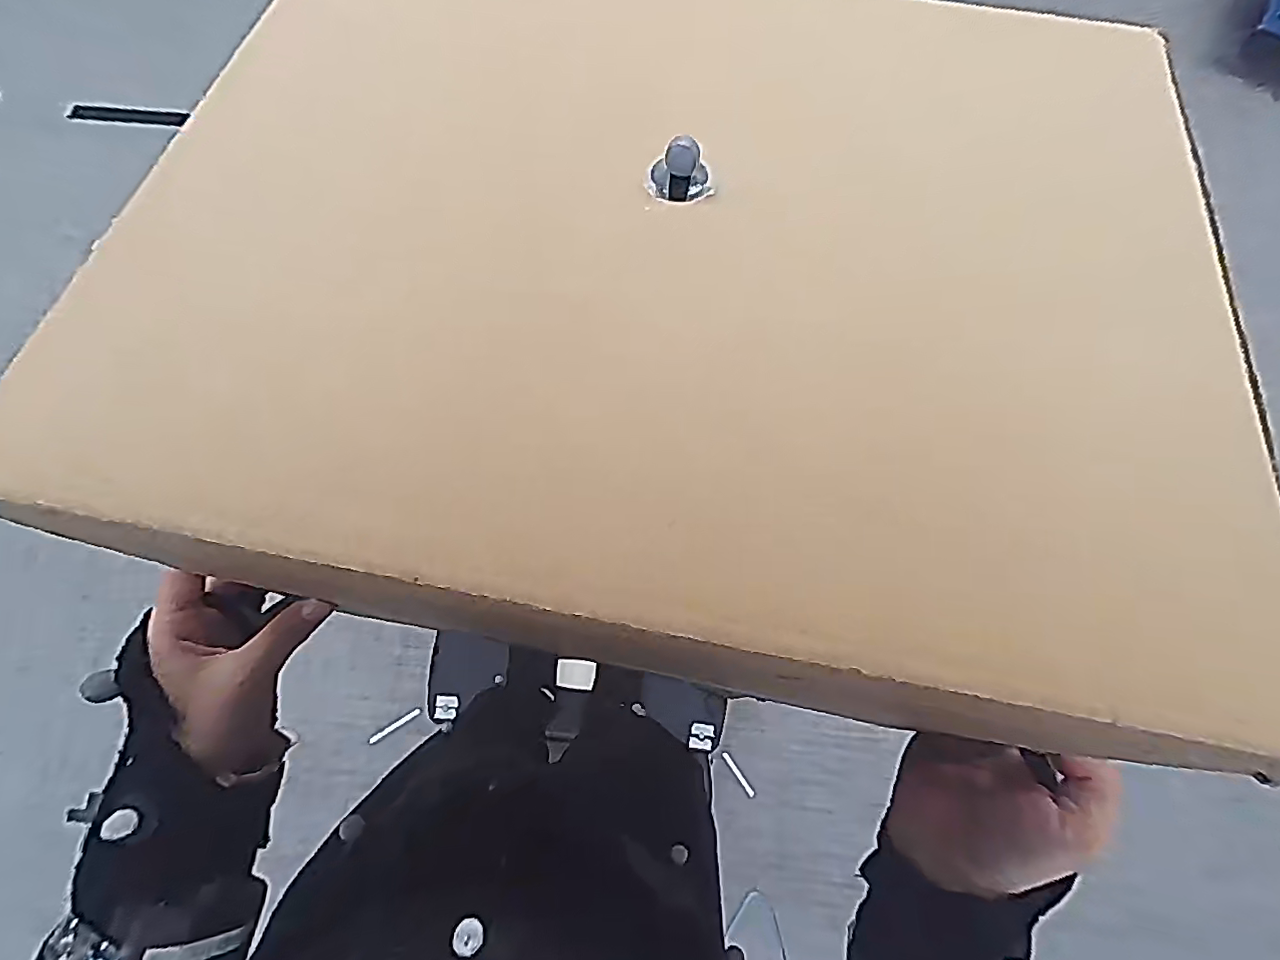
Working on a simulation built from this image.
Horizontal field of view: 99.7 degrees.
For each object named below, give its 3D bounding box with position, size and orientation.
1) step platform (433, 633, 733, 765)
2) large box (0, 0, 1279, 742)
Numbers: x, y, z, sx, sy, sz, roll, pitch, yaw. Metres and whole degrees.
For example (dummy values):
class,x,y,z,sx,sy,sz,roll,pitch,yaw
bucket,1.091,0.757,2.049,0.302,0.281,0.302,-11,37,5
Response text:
class,x,y,z,sx,sy,sz,roll,pitch,yaw
step platform,-0.125,0.449,1.282,0.684,0.204,0.286,11,79,1
large box,-0.001,-0.052,0.341,0.408,0.320,0.320,9,71,4
